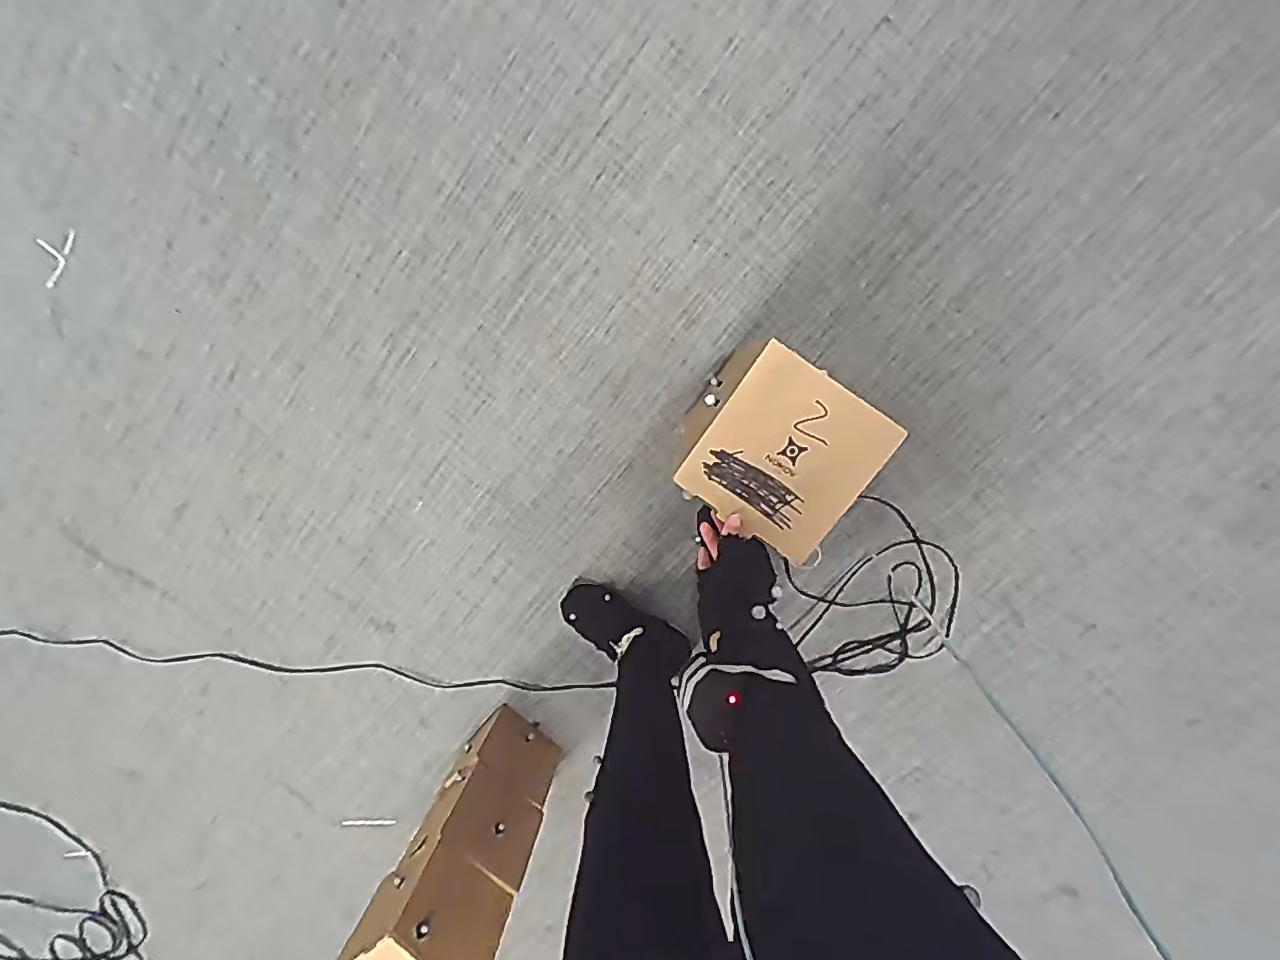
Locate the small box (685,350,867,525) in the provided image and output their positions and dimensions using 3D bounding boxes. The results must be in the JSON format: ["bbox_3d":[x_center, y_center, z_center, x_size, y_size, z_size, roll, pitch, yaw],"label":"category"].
[{"bbox_3d":[0.181,-0.067,0.777,0.179,0.176,0.168,37,104,-4],"label":"small box"}]

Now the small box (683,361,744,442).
[{"bbox_3d":[0.193,-0.095,0.938,0.179,0.176,0.168,37,104,-3],"label":"small box"}]

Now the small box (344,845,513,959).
[{"bbox_3d":[-0.333,0.735,0.855,0.168,0.176,0.179,-42,95,14],"label":"small box"}]

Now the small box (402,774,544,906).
[{"bbox_3d":[-0.309,0.692,1.010,0.179,0.176,0.168,41,104,-5],"label":"small box"}]

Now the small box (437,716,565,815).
[{"bbox_3d":[-0.292,0.646,1.170,0.179,0.176,0.168,39,108,-2],"label":"small box"}]
